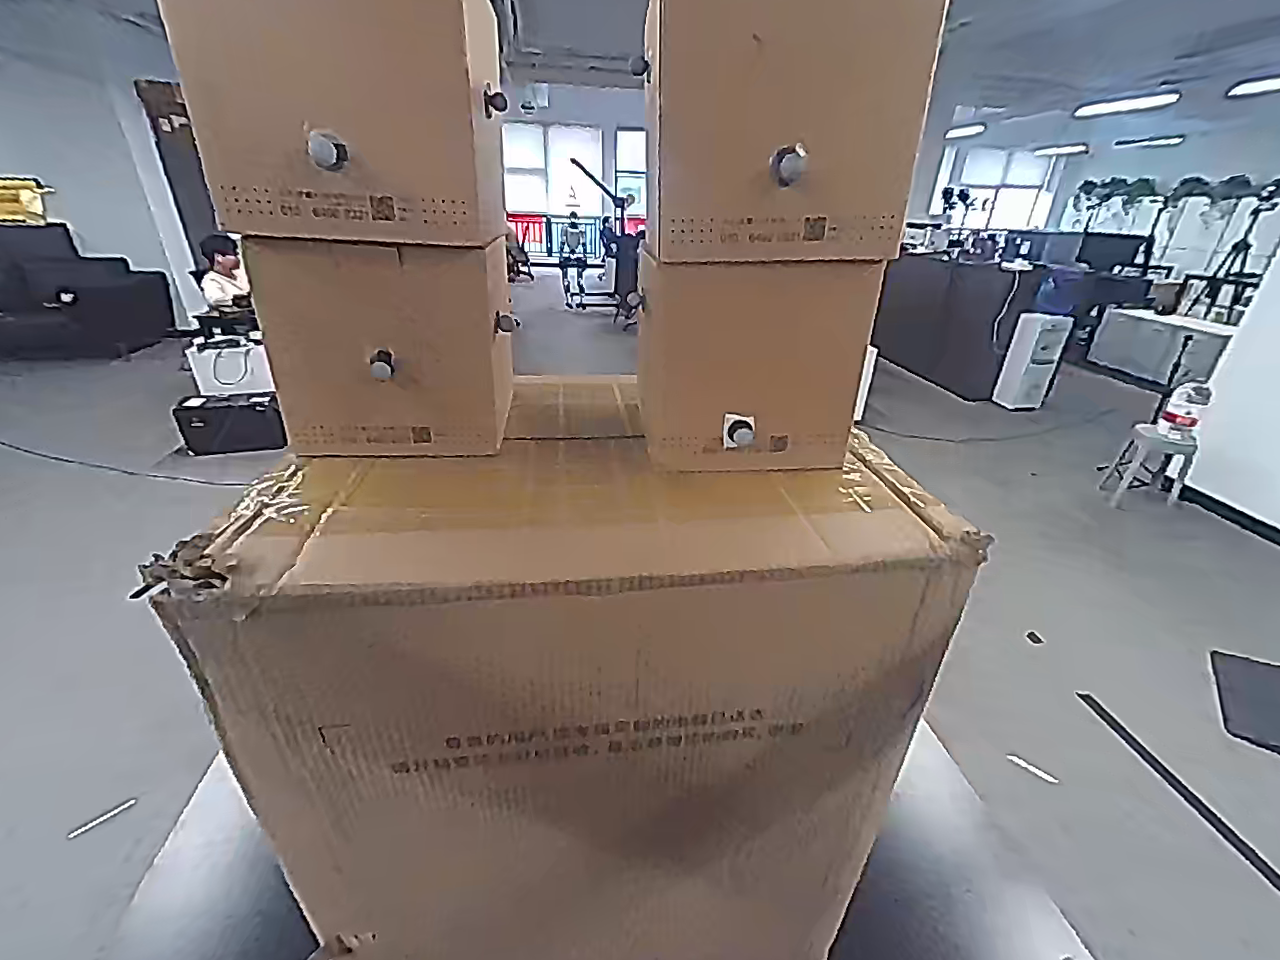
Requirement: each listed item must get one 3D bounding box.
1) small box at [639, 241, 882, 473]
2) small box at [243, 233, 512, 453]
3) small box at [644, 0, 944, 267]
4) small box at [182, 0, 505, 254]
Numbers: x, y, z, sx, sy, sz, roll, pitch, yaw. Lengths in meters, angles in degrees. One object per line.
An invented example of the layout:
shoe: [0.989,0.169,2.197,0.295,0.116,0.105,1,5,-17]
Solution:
small box: [0.086,-0.118,0.491,0.168,0.176,0.179,-3,29,-4]
small box: [-0.208,-0.131,0.491,0.168,0.176,0.179,-1,28,-9]
small box: [0.089,-0.261,0.407,0.168,0.176,0.179,-2,28,-2]
small box: [-0.195,-0.270,0.401,0.168,0.176,0.179,0,28,-7]
